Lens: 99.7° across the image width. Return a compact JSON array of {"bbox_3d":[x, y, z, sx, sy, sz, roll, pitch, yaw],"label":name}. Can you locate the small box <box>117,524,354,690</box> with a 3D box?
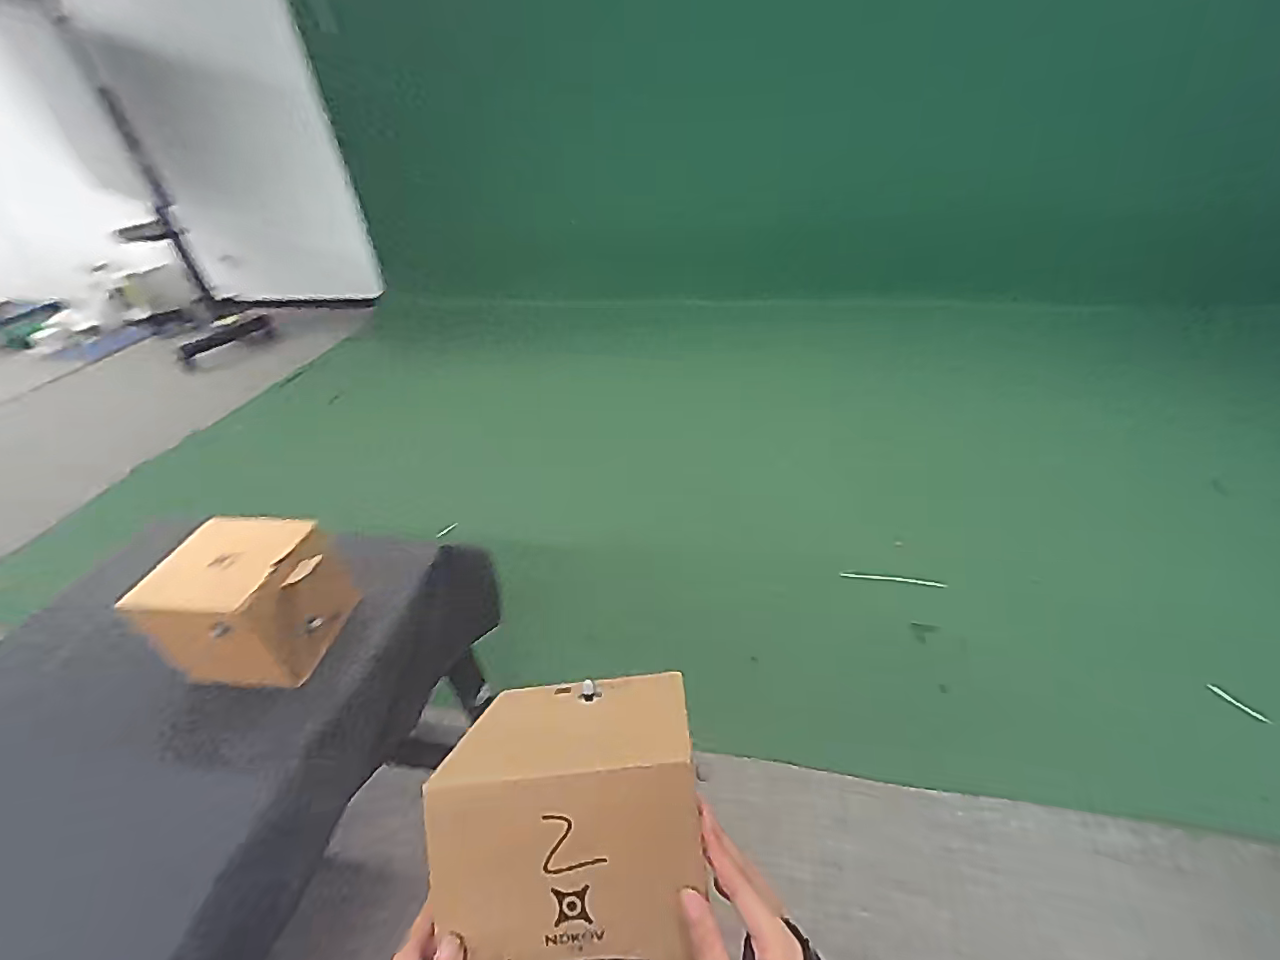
[{"bbox_3d":[-0.554,0.180,0.771,0.179,0.176,0.168,1,37,7],"label":"small box"}]
